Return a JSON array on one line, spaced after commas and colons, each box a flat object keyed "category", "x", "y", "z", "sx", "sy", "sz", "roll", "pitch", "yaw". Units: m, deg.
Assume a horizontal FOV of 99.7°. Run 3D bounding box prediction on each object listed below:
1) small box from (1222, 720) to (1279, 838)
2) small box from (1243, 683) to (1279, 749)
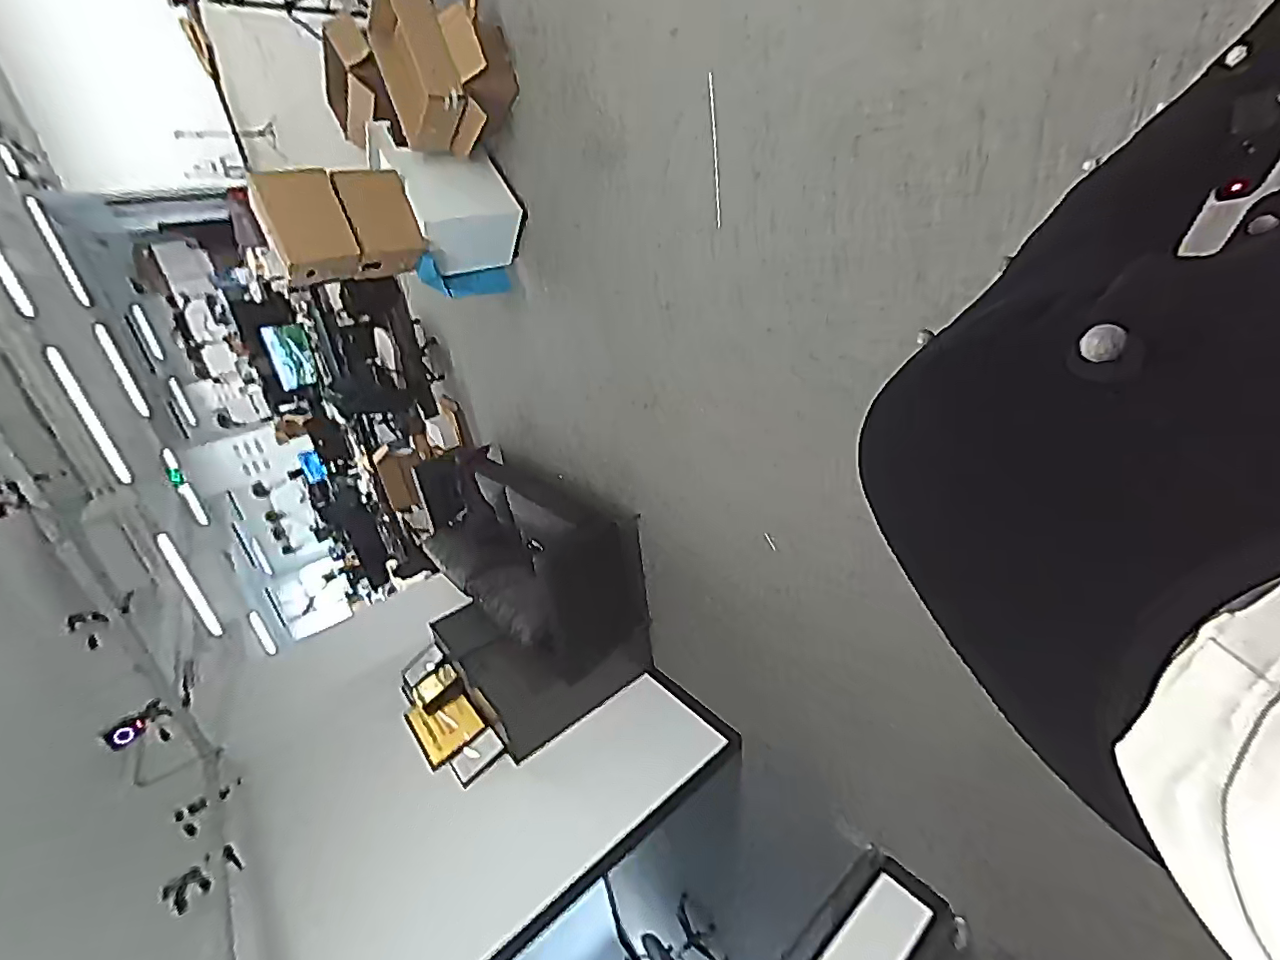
[{"category": "small box", "x": 1.340, "y": 0.619, "z": 1.088, "sx": 0.179, "sy": 0.176, "sz": 0.168, "roll": 26, "pitch": 131, "yaw": 45}, {"category": "small box", "x": 1.469, "y": 0.562, "z": 1.168, "sx": 0.179, "sy": 0.176, "sz": 0.168, "roll": 27, "pitch": 132, "yaw": 45}]
